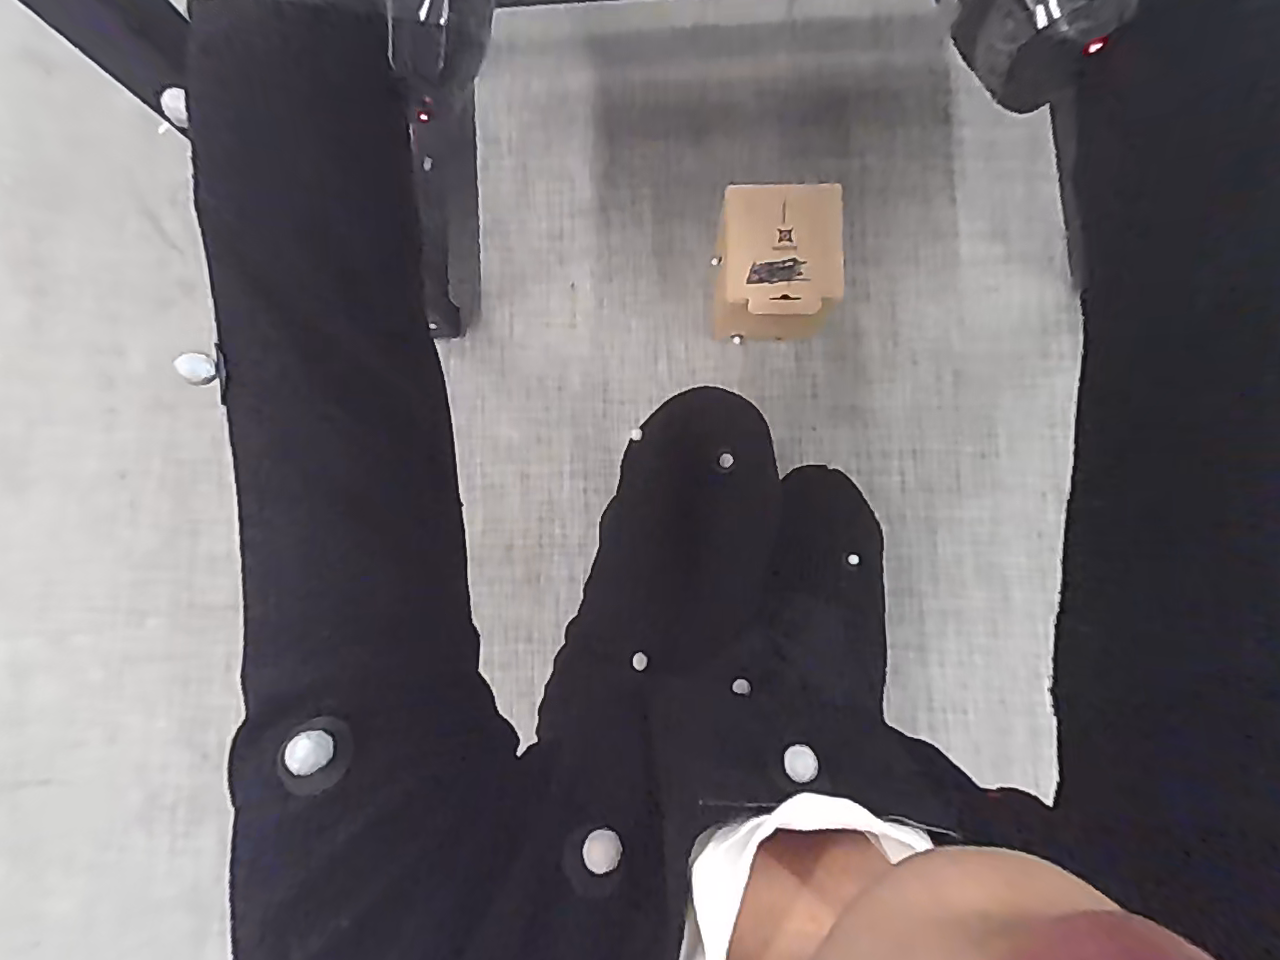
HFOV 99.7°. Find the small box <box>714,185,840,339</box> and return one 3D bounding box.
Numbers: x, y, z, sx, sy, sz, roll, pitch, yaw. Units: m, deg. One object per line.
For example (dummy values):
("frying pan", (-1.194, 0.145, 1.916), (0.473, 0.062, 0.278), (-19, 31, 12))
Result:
("small box", (0.207, -0.331, 0.850), (0.168, 0.176, 0.179), (1, 84, 3))
